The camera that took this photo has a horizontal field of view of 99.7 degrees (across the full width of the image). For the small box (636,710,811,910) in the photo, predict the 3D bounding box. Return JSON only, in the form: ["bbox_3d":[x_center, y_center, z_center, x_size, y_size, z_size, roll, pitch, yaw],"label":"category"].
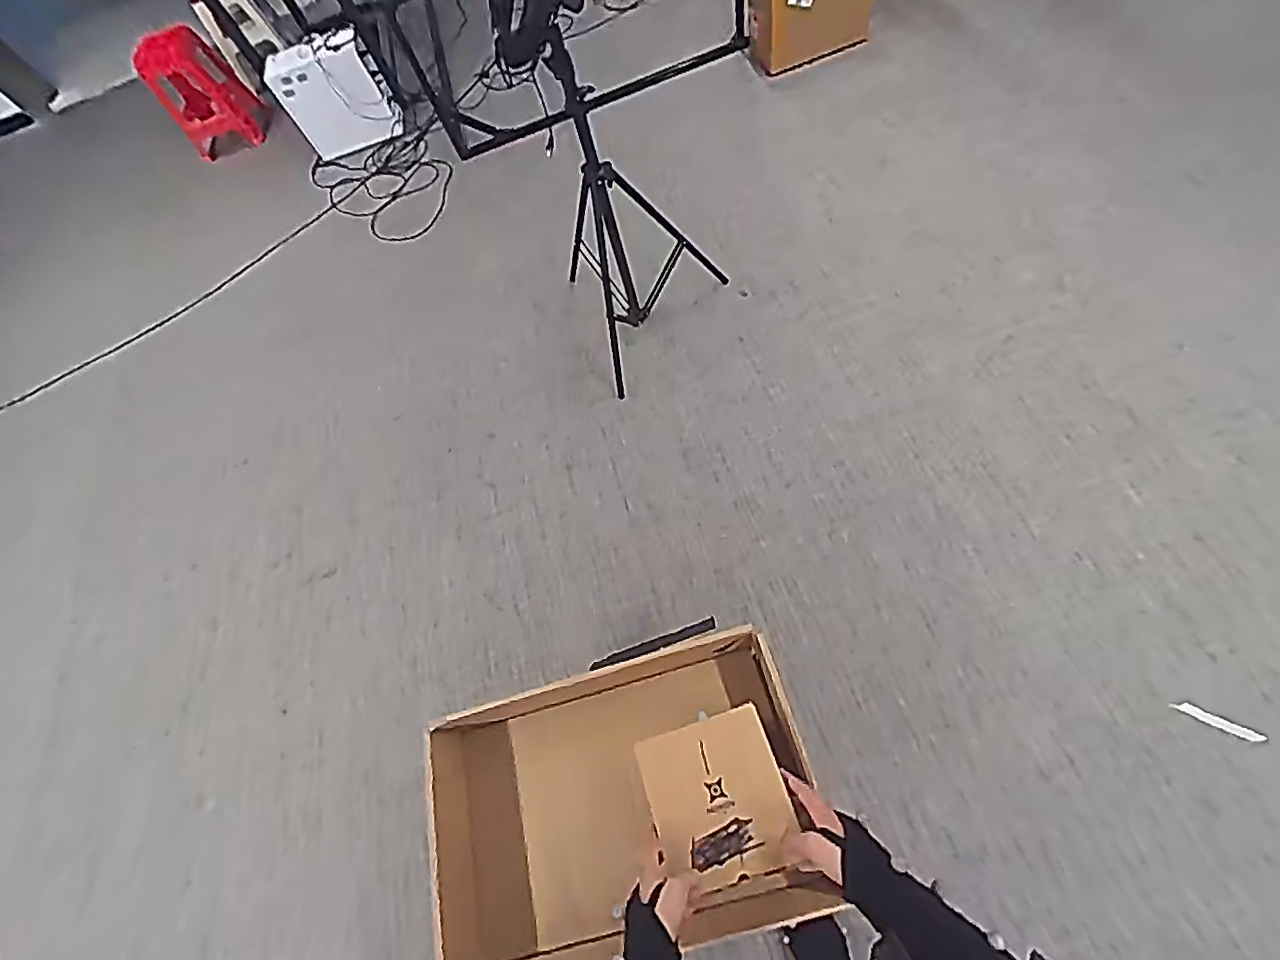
[{"bbox_3d":[0.110,0.422,0.719,0.168,0.176,0.179,-20,62,1],"label":"small box"}]
